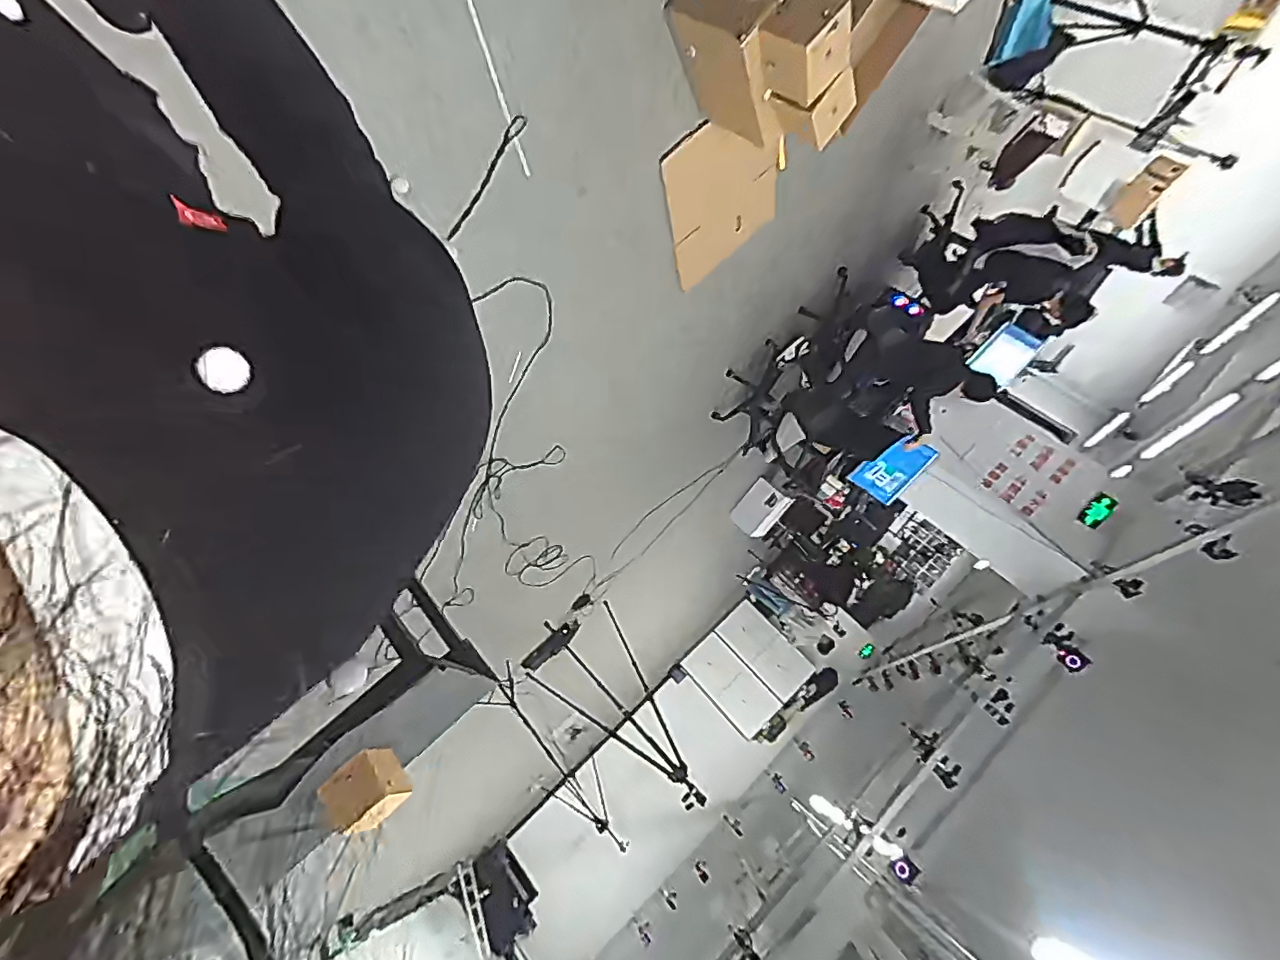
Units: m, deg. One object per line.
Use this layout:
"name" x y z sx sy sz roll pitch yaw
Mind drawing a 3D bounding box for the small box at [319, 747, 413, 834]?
"small box" -0.857 0.963 1.694 0.168 0.176 0.179 -40 156 -13
